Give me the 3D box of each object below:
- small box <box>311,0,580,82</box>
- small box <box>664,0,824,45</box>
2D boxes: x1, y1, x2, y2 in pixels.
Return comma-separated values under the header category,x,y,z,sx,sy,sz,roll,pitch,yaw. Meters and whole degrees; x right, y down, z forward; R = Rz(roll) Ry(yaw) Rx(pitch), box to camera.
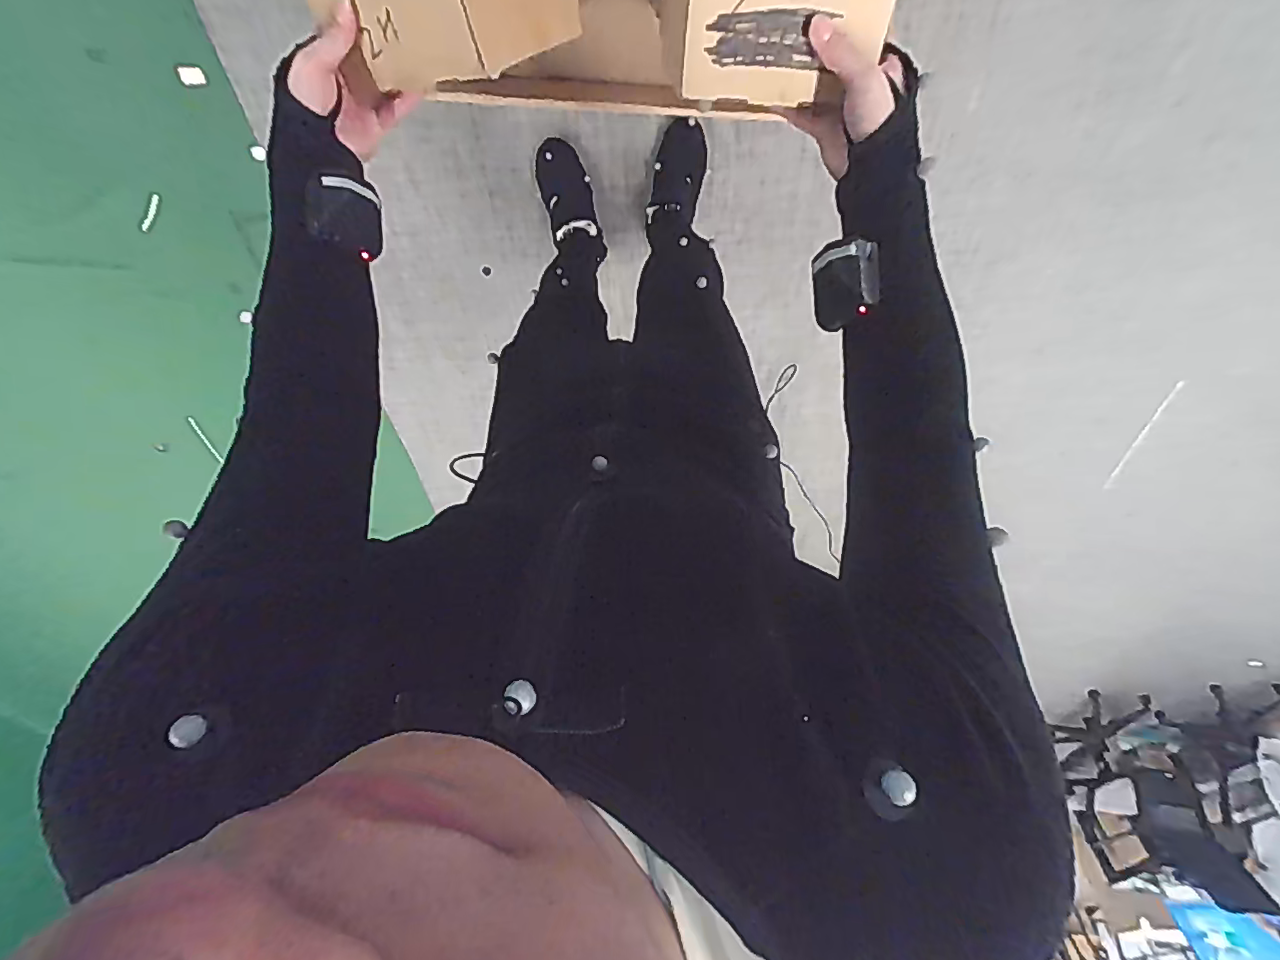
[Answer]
category,x,y,z,sx,sy,sz,roll,pitch,yaw
small box,-0.174,-0.464,0.449,0.168,0.176,0.179,14,142,25
small box,0.114,-0.596,0.583,0.168,0.176,0.179,1,134,-3
